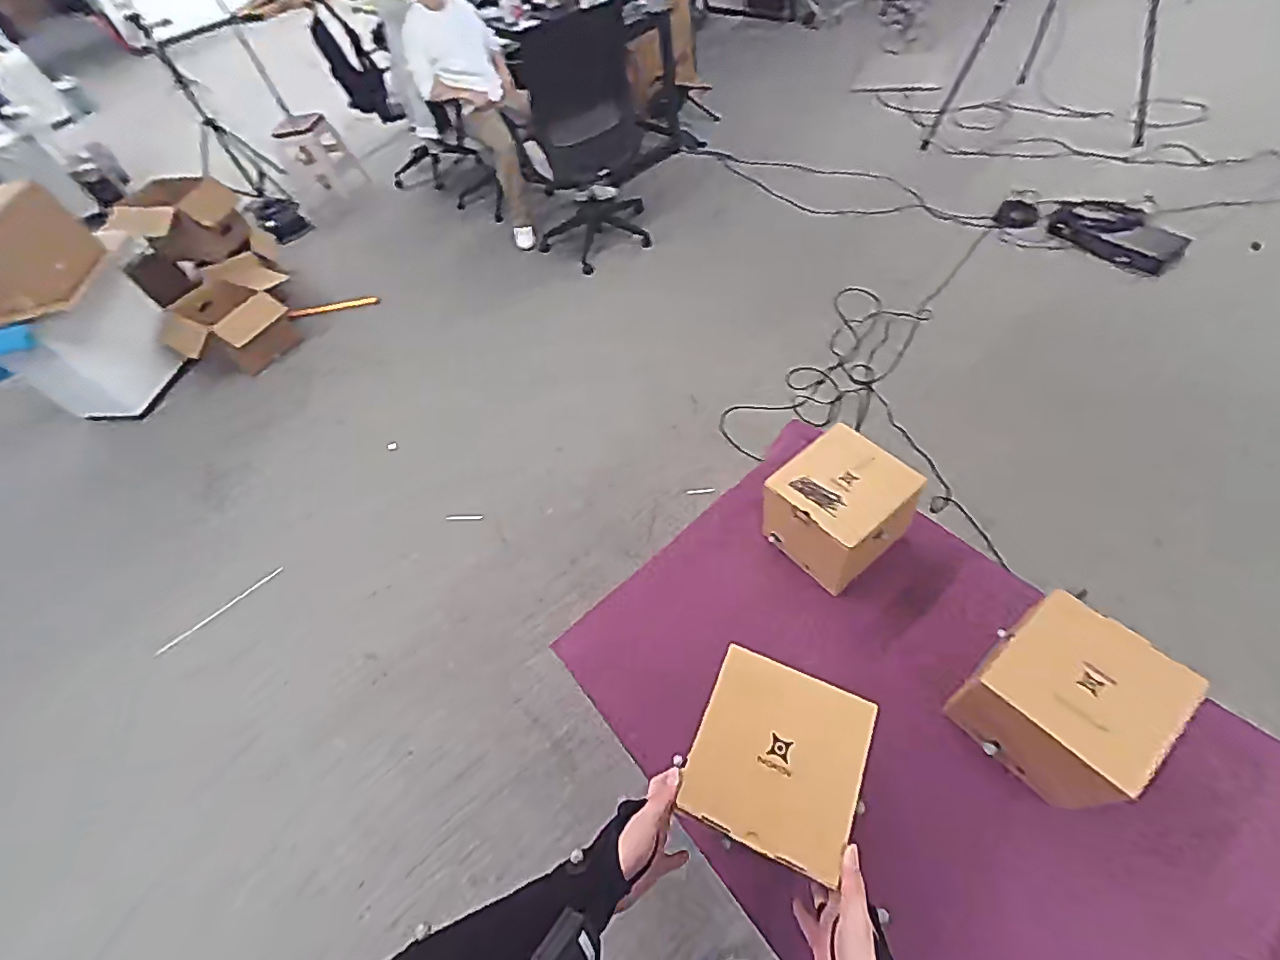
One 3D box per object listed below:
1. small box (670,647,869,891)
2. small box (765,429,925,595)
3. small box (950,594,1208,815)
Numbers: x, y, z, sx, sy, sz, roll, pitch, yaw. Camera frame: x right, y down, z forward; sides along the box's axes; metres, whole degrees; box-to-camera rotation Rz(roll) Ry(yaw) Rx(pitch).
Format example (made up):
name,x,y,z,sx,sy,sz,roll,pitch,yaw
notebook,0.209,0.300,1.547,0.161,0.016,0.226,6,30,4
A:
name,x,y,z,sx,sy,sz,roll,pitch,yaw
small box,0.140,0.324,0.620,0.168,0.176,0.179,19,61,16
small box,0.325,0.057,0.886,0.179,0.176,0.168,-36,56,-15
small box,0.530,0.285,0.682,0.179,0.176,0.168,-37,55,-16
